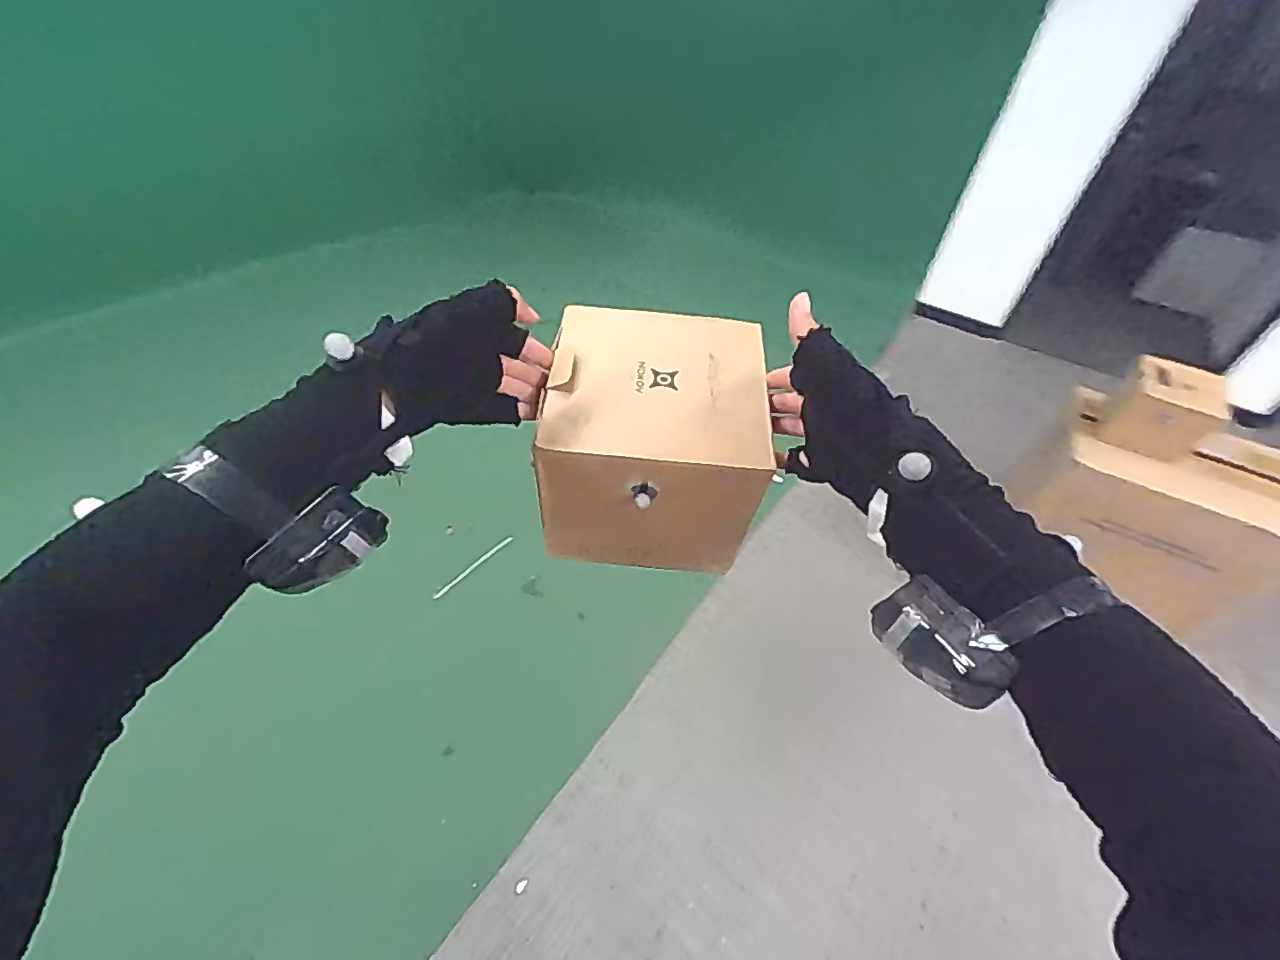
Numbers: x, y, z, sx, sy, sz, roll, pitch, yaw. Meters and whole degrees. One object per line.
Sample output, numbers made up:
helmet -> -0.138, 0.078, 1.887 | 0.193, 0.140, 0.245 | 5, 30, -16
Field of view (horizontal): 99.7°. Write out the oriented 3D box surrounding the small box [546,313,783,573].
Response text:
small box -> 0.017, -0.027, 0.500 | 0.179, 0.176, 0.168 | 7, 54, -2

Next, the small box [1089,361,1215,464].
small box -> 1.298, -0.169, 1.382 | 0.179, 0.176, 0.168 | 26, 57, 18
